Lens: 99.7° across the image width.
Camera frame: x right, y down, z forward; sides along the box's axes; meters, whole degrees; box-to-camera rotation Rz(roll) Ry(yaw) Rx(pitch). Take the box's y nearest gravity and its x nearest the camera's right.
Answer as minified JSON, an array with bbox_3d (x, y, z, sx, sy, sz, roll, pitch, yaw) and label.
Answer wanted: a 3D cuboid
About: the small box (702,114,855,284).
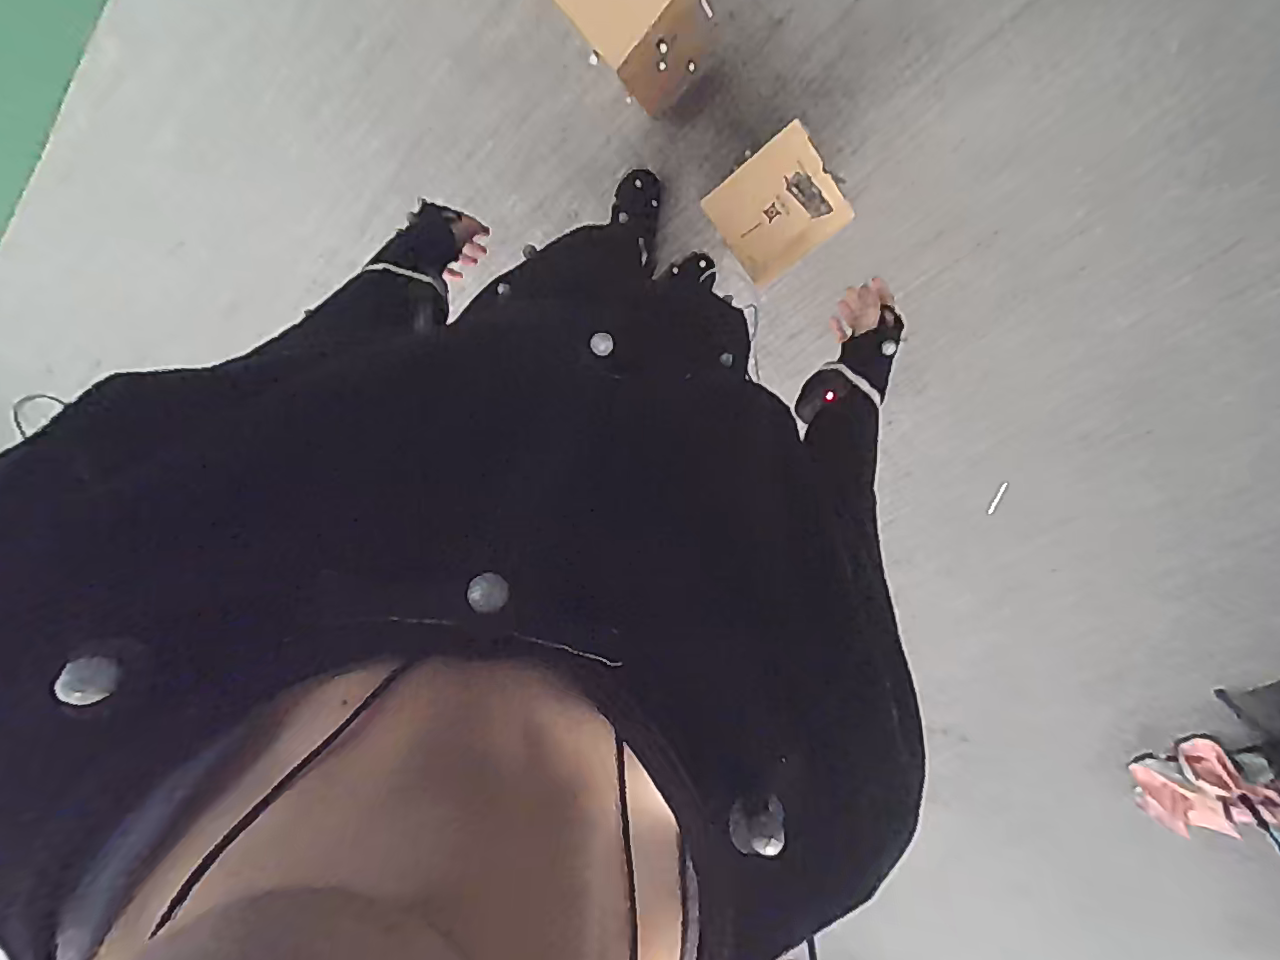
[{"bbox_3d":[0.217,-0.452,0.888,0.179,0.176,0.168,-34,106,21],"label":"small box"}]

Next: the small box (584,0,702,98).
[{"bbox_3d":[-0.009,-0.806,0.933,0.179,0.176,0.168,44,113,-13],"label":"small box"}]

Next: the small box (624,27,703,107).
[{"bbox_3d":[0.012,-0.883,1.077,0.168,0.176,0.179,-40,103,22],"label":"small box"}]

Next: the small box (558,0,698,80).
[{"bbox_3d":[-0.027,-0.728,0.788,0.168,0.176,0.179,-40,104,21],"label":"small box"}]
